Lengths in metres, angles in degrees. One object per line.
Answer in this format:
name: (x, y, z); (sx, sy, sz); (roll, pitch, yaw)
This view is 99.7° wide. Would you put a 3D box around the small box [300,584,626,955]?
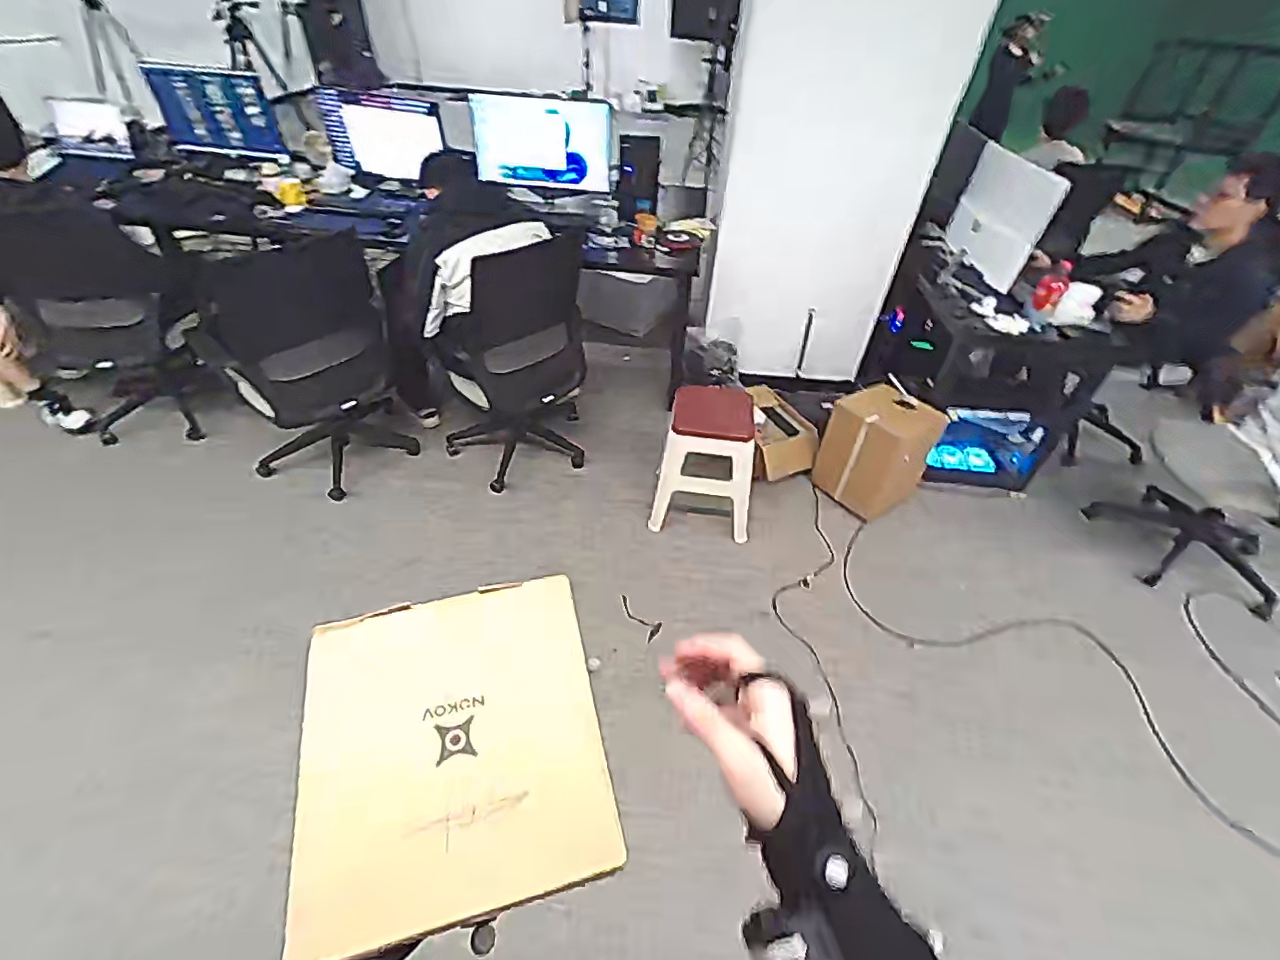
small box: (-0.113, 0.202, 0.389); (0.168, 0.176, 0.179); (-9, 54, -12)
